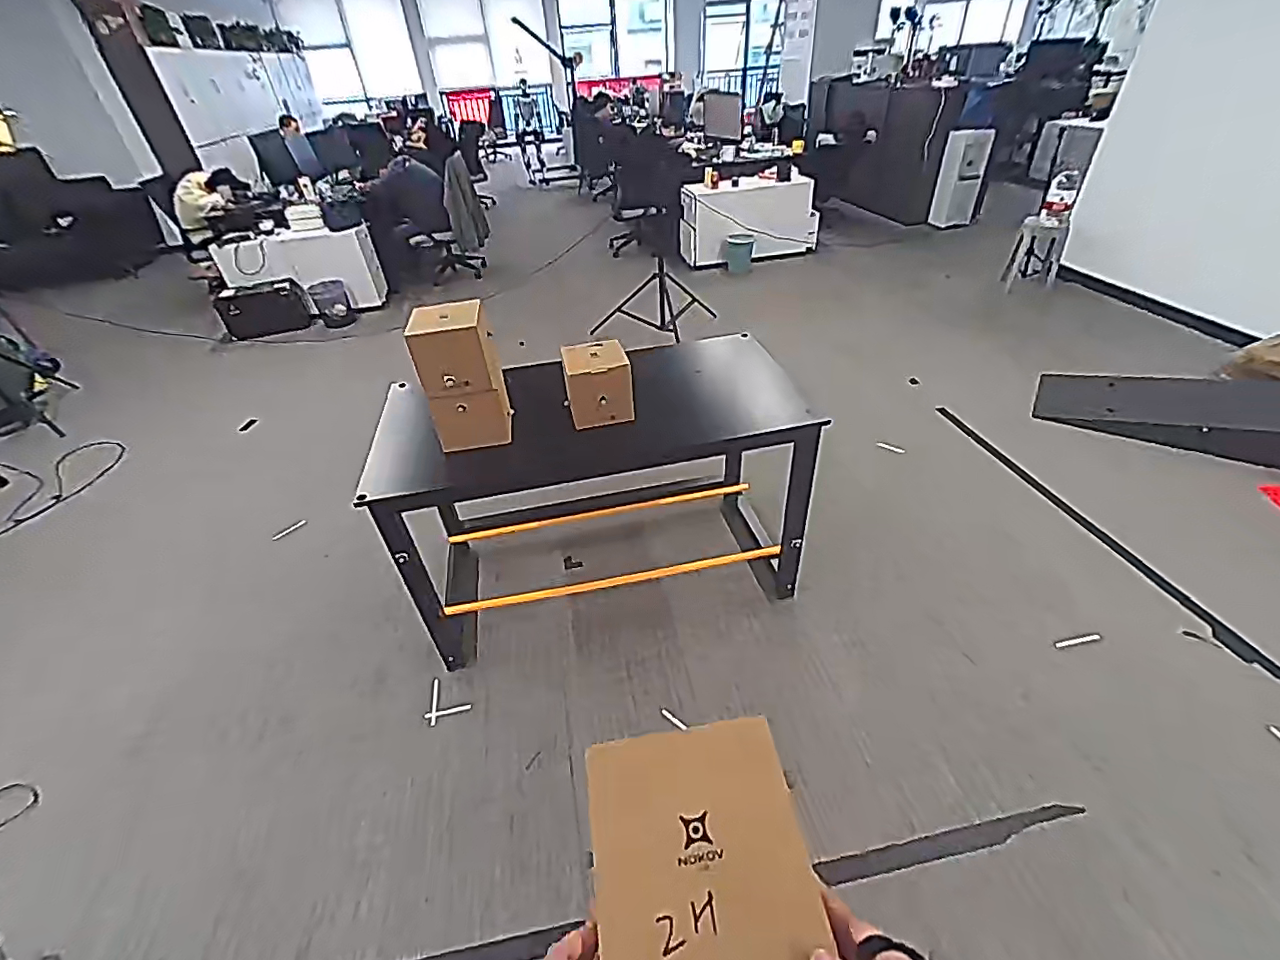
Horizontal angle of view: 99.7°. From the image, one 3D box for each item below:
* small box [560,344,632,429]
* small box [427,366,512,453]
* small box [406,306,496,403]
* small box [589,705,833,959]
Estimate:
[{"bbox_3d":[-0.121,-0.253,1.497,0.168,0.176,0.179,-11,38,-8],"label":"small box"},{"bbox_3d":[-0.448,-0.186,1.442,0.179,0.176,0.168,-9,38,-7],"label":"small box"},{"bbox_3d":[-0.460,-0.312,1.341,0.168,0.176,0.179,-11,39,-6],"label":"small box"},{"bbox_3d":[0.049,0.334,0.486,0.168,0.176,0.179,-9,44,-2],"label":"small box"}]
